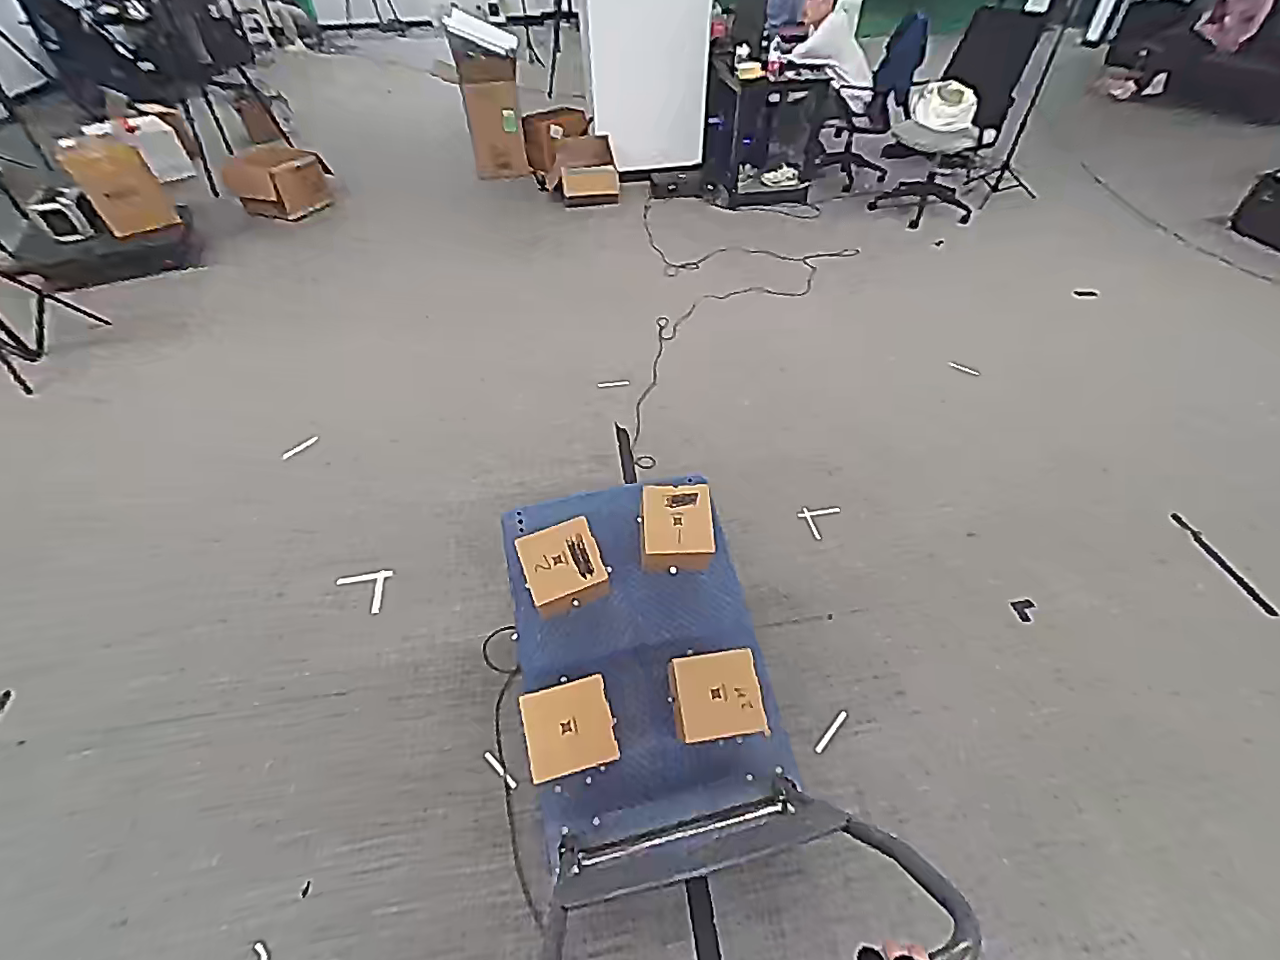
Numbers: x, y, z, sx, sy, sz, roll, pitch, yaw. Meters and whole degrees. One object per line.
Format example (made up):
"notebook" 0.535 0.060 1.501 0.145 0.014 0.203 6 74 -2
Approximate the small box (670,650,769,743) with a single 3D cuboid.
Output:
"small box" 0.165 0.484 1.199 0.179 0.176 0.168 -7 66 -6

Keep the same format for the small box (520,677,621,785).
"small box" -0.146 0.536 1.158 0.179 0.176 0.168 -13 66 -11

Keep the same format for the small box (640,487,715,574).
"small box" 0.087 0.129 1.360 0.168 0.176 0.179 -1 66 -4
